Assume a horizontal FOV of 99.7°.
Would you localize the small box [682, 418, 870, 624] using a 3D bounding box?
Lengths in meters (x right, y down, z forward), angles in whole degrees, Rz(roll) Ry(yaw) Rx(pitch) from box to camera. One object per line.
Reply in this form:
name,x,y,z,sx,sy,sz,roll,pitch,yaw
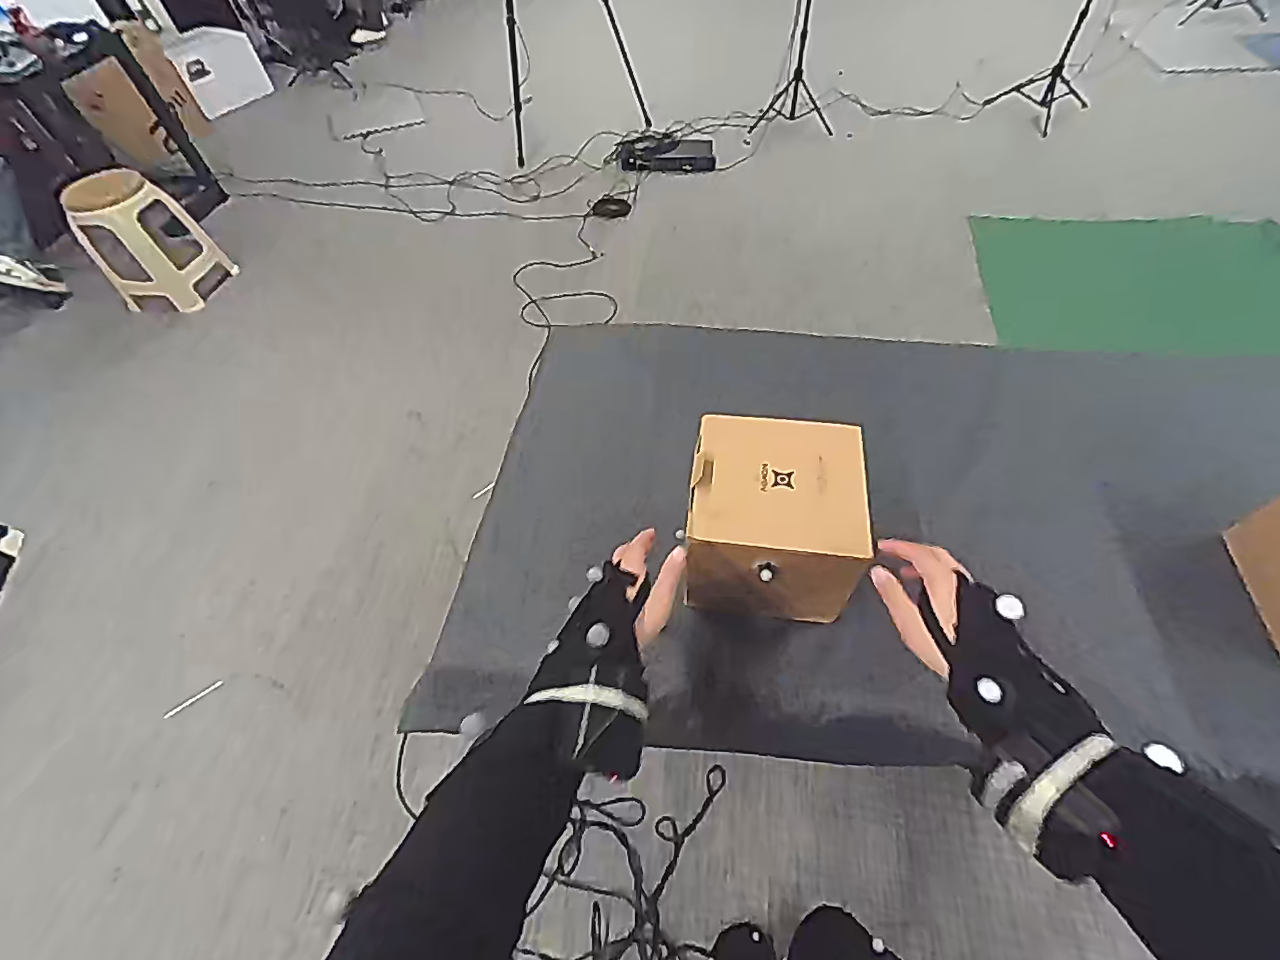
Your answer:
small box,0.143,0.051,0.616,0.179,0.176,0.168,6,55,7
